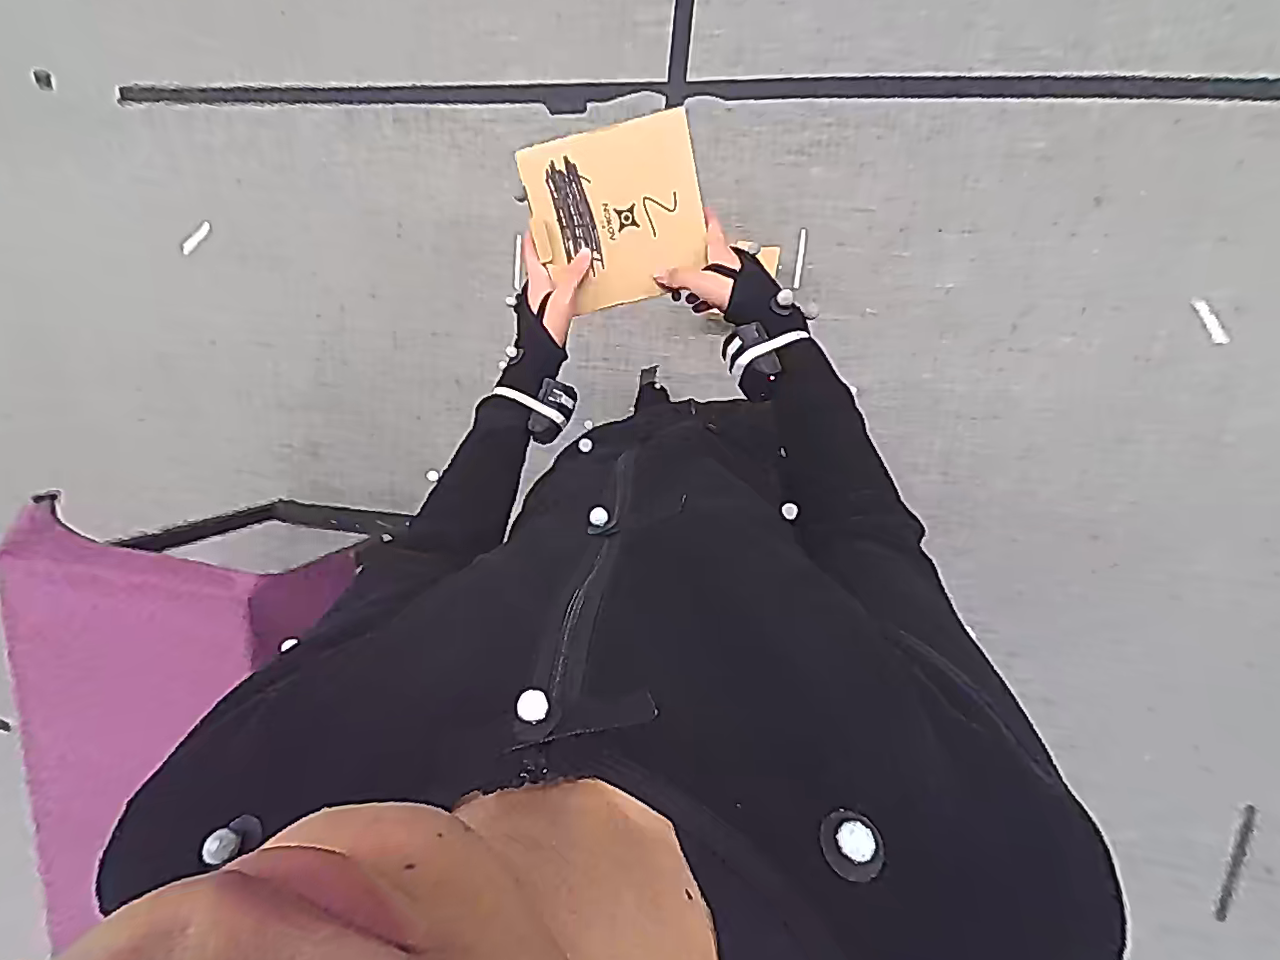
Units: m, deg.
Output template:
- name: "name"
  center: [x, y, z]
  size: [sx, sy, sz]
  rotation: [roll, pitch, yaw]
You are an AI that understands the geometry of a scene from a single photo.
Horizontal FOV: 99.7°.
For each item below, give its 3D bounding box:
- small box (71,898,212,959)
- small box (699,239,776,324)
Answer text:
- name: "small box"
  center: [-1.061, 1.044, 1.151]
  size: [0.168, 0.176, 0.179]
  rotation: [-4, 98, 9]
- name: "small box"
  center: [0.255, -0.515, 1.427]
  size: [0.168, 0.176, 0.179]
  rotation: [10, 101, 7]
